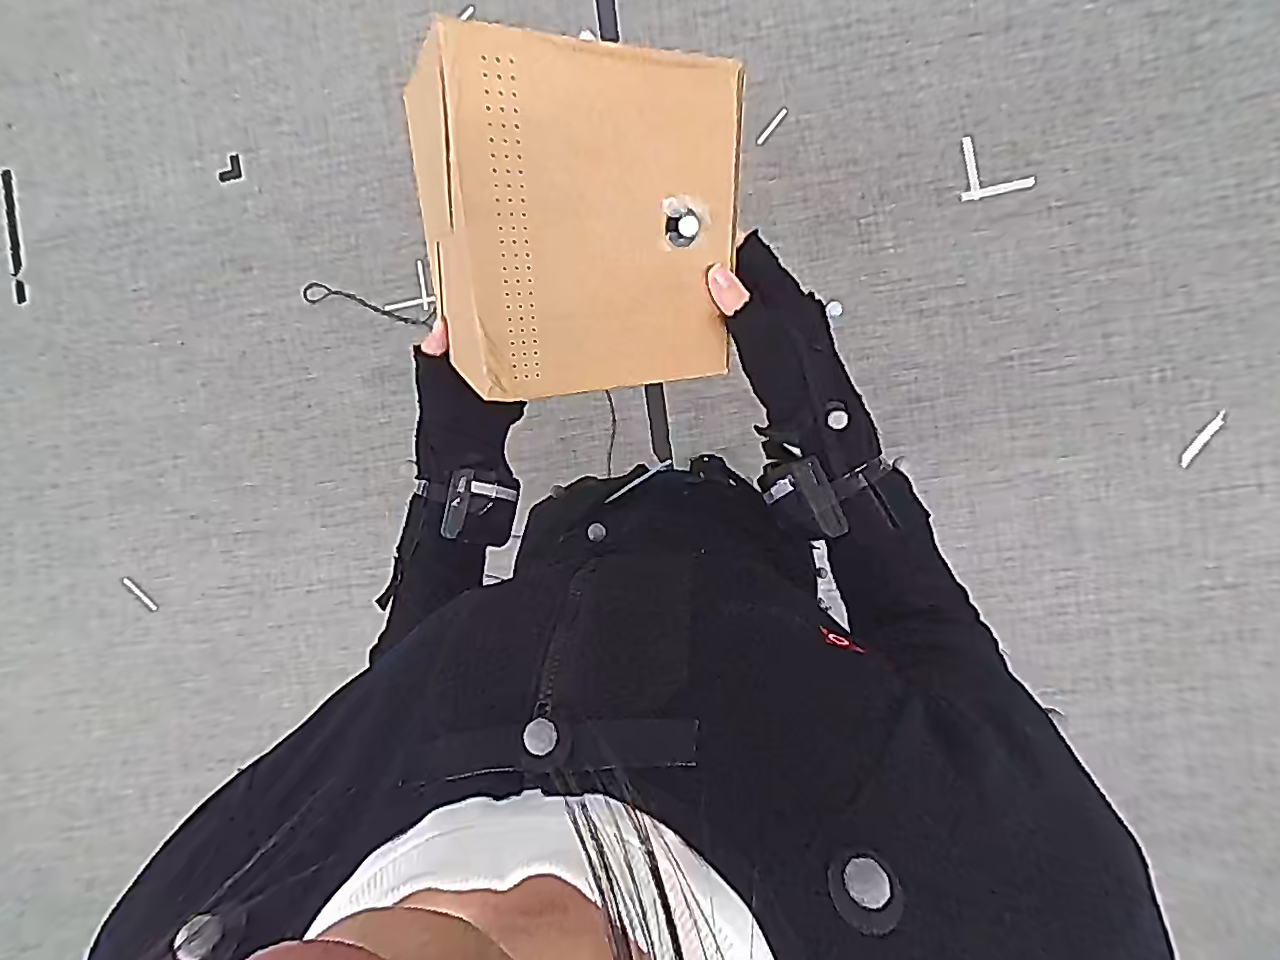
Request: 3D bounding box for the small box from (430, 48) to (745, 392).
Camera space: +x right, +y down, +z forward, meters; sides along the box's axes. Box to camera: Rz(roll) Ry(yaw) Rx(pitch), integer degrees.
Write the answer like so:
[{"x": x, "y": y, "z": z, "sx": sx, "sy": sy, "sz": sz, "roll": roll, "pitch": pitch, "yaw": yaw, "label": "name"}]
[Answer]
[{"x": -0.046, "y": -0.170, "z": 0.382, "sx": 0.176, "sy": 0.168, "sz": 0.179, "roll": -11, "pitch": 115, "yaw": -23, "label": "small box"}]
